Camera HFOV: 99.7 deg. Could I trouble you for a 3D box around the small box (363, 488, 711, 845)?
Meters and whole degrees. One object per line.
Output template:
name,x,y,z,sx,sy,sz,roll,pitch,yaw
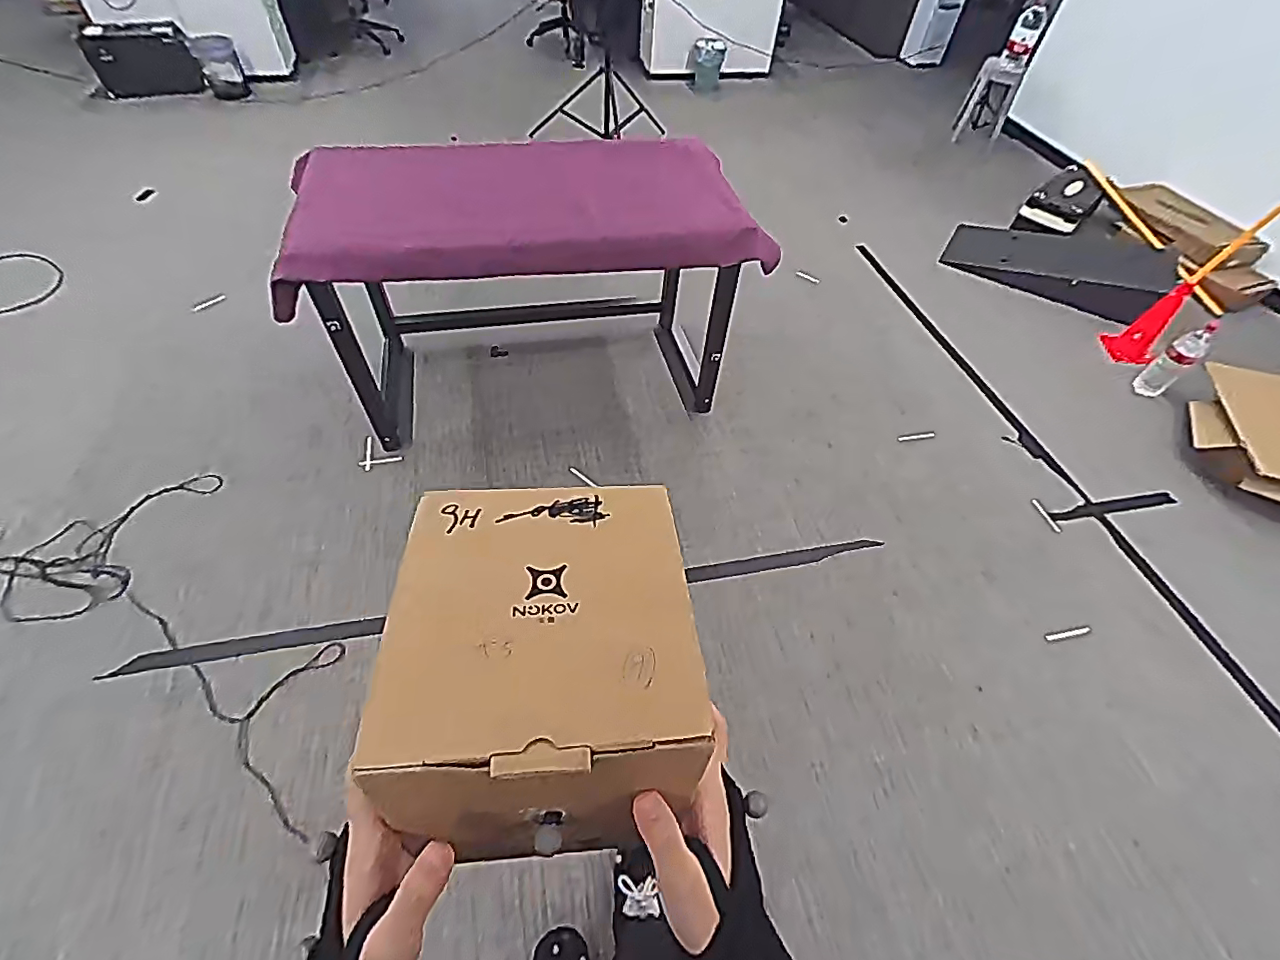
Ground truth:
small box,-0.057,0.126,0.365,0.168,0.176,0.179,-1,44,-7
